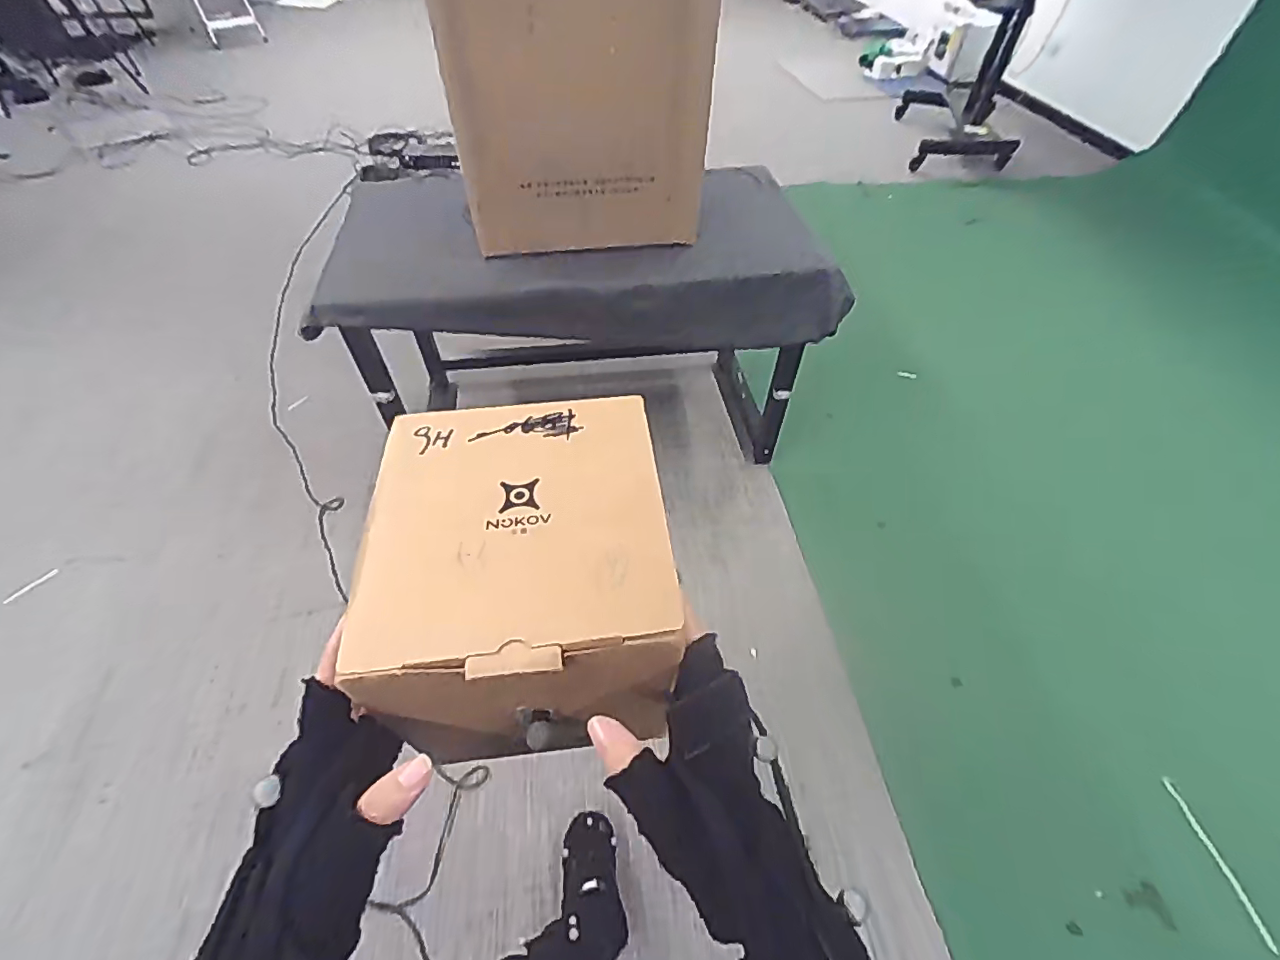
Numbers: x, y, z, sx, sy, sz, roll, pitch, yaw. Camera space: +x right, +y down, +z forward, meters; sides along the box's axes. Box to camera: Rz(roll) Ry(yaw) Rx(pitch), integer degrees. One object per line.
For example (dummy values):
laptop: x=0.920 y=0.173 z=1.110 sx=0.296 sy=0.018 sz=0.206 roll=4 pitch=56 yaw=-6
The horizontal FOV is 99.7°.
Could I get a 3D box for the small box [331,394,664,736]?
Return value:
small box: x=-0.074 y=0.065 z=0.373 sx=0.168 sy=0.176 sz=0.179 roll=-4 pitch=51 yaw=-4
